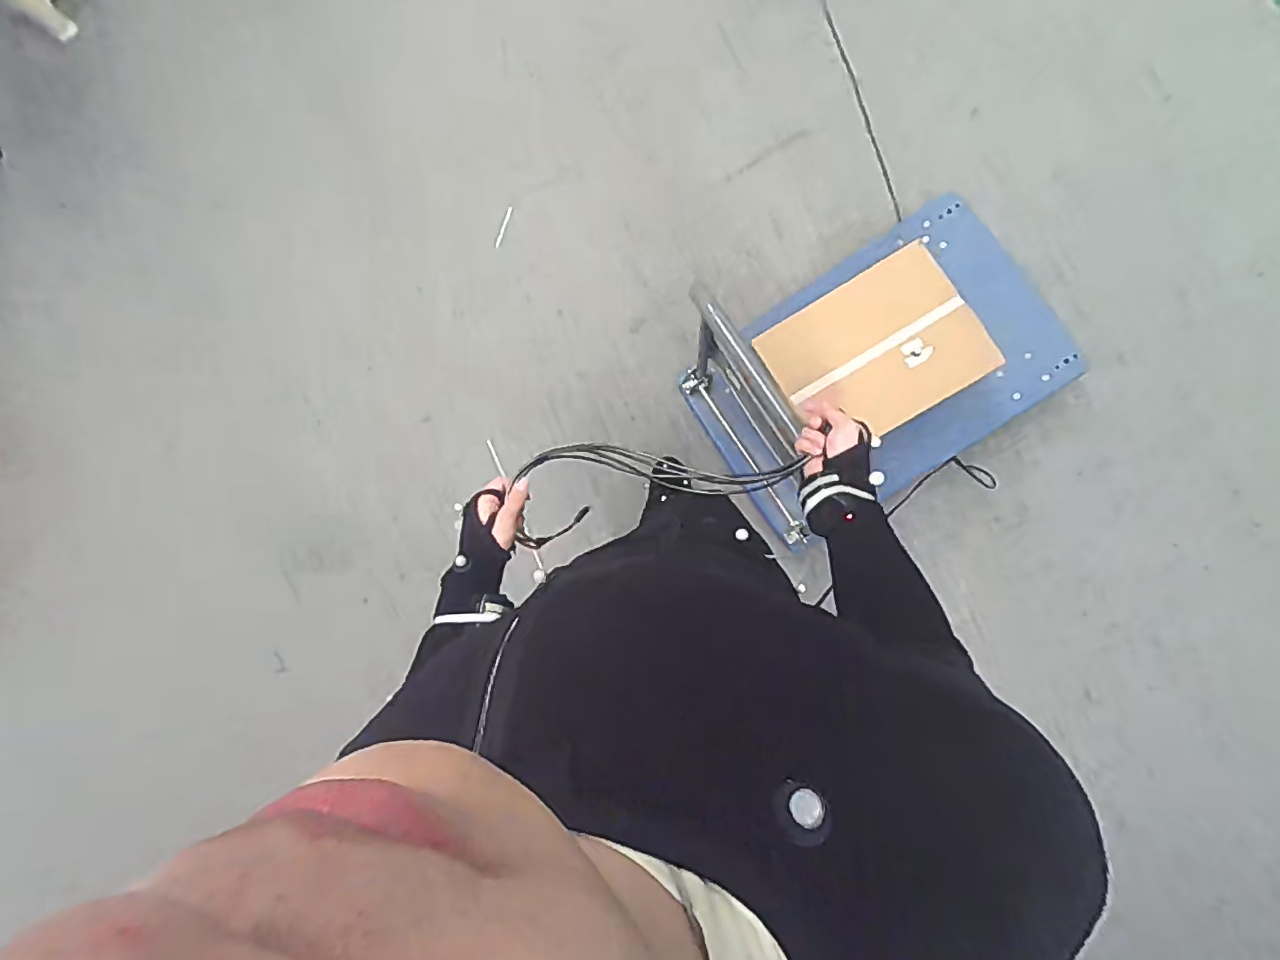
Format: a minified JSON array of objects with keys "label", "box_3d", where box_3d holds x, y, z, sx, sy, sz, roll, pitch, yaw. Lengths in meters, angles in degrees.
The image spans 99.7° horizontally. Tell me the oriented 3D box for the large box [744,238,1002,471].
[{"label":"large box","box_3d":[0.498,-0.258,1.254,0.408,0.320,0.320,-31,85,4]}]
